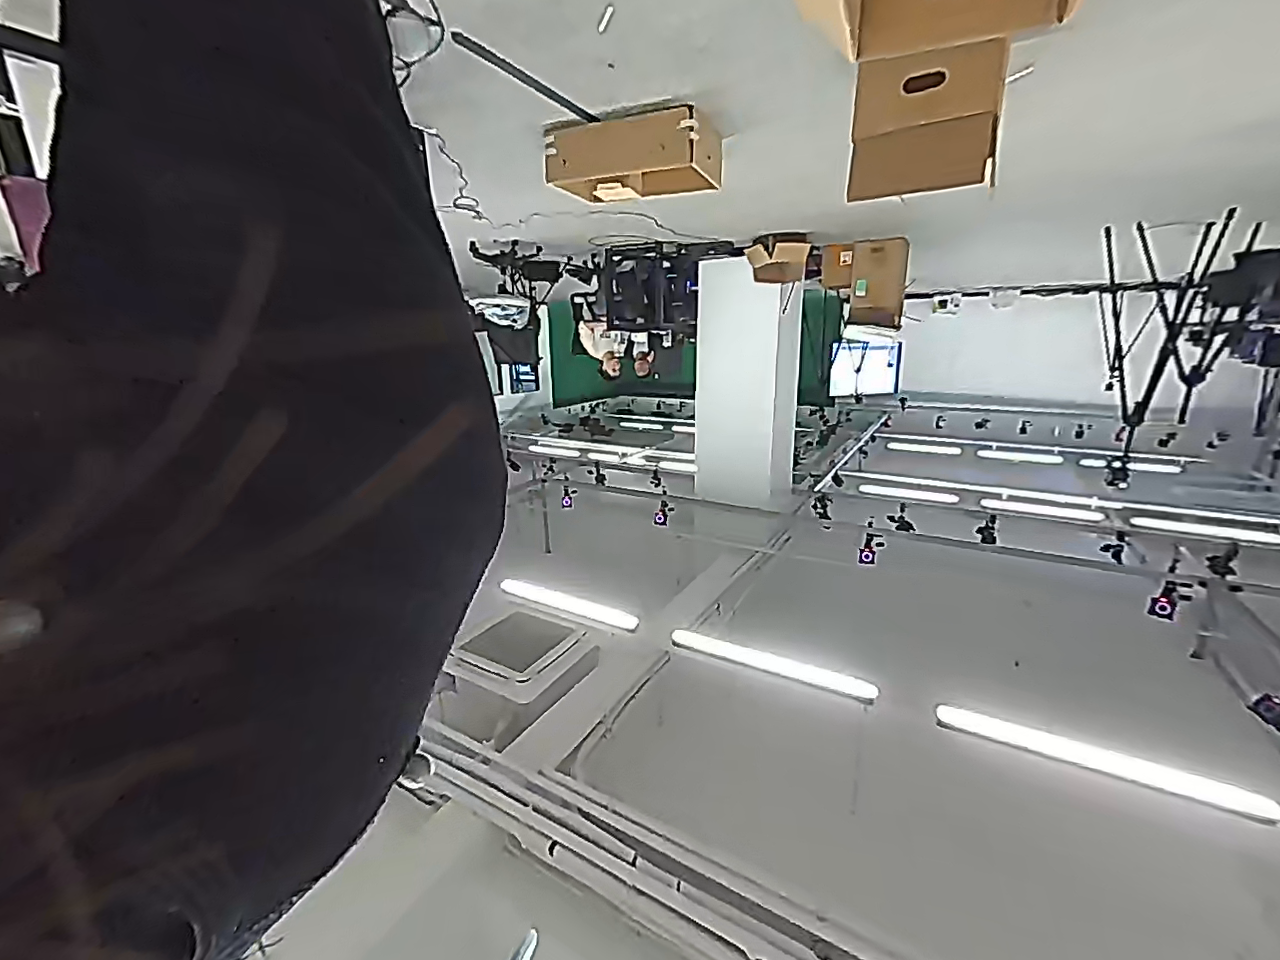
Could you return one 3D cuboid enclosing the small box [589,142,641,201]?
[{"bbox_3d":[-0.098,-1.233,2.158,0.168,0.176,0.179,3,-165,16],"label":"small box"}]
